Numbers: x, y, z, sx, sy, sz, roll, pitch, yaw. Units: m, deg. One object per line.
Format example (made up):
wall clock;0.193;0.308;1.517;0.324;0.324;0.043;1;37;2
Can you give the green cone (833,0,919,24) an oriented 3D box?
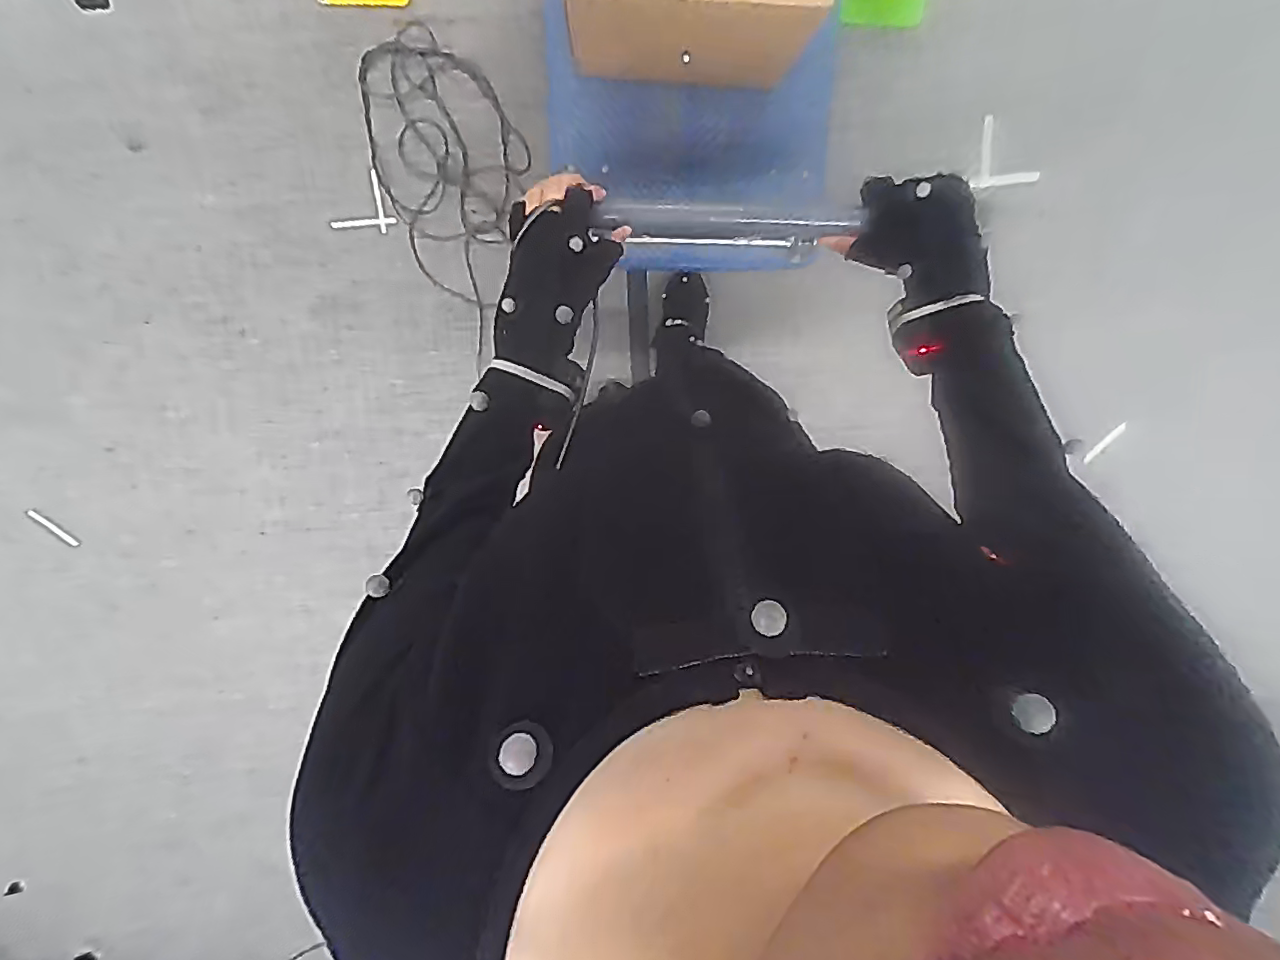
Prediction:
green cone;0.542;-1.082;1.028;0.202;0.368;0.200;-1;106;-4

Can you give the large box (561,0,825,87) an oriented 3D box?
large box;0.079;-0.897;0.906;0.408;0.320;0.320;1;107;-3
